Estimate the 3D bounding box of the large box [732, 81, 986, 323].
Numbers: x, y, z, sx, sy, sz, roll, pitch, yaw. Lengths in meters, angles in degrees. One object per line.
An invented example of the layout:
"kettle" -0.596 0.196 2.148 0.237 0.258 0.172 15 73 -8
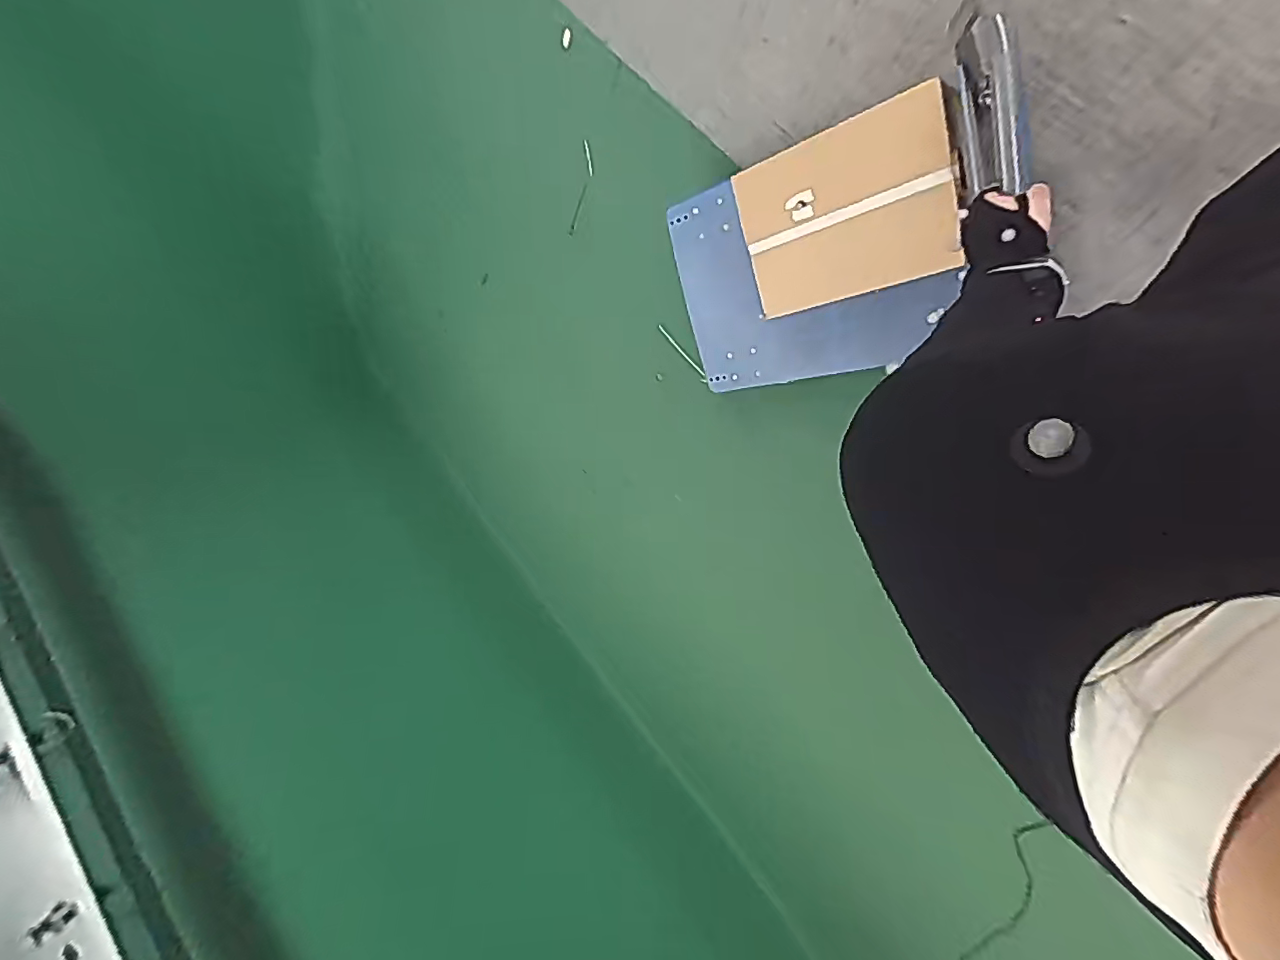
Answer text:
"large box" 0.478 -0.575 1.171 0.408 0.320 0.320 -6 109 41
